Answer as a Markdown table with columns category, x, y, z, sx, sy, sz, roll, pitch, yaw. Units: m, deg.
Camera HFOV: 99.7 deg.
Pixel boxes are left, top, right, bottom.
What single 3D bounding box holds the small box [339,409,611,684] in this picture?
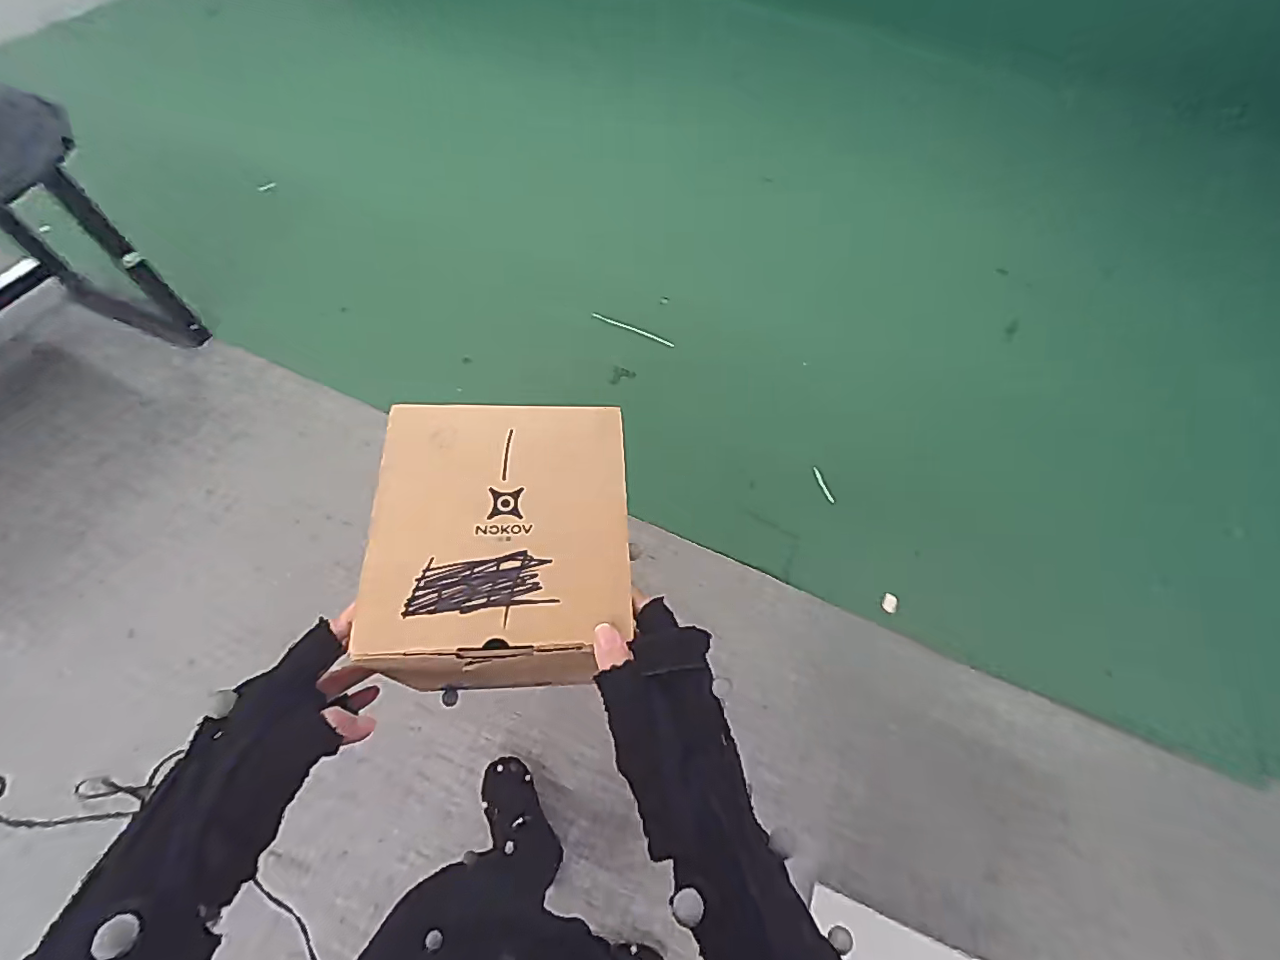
| category | x | y | z | sx | sy | sz | roll | pitch | yaw |
| --- | --- | --- | --- | --- | --- | --- | --- | --- | --- |
| small box | -0.109 | 0.062 | 0.433 | 0.168 | 0.176 | 0.179 | -1 | 61 | -7 |
